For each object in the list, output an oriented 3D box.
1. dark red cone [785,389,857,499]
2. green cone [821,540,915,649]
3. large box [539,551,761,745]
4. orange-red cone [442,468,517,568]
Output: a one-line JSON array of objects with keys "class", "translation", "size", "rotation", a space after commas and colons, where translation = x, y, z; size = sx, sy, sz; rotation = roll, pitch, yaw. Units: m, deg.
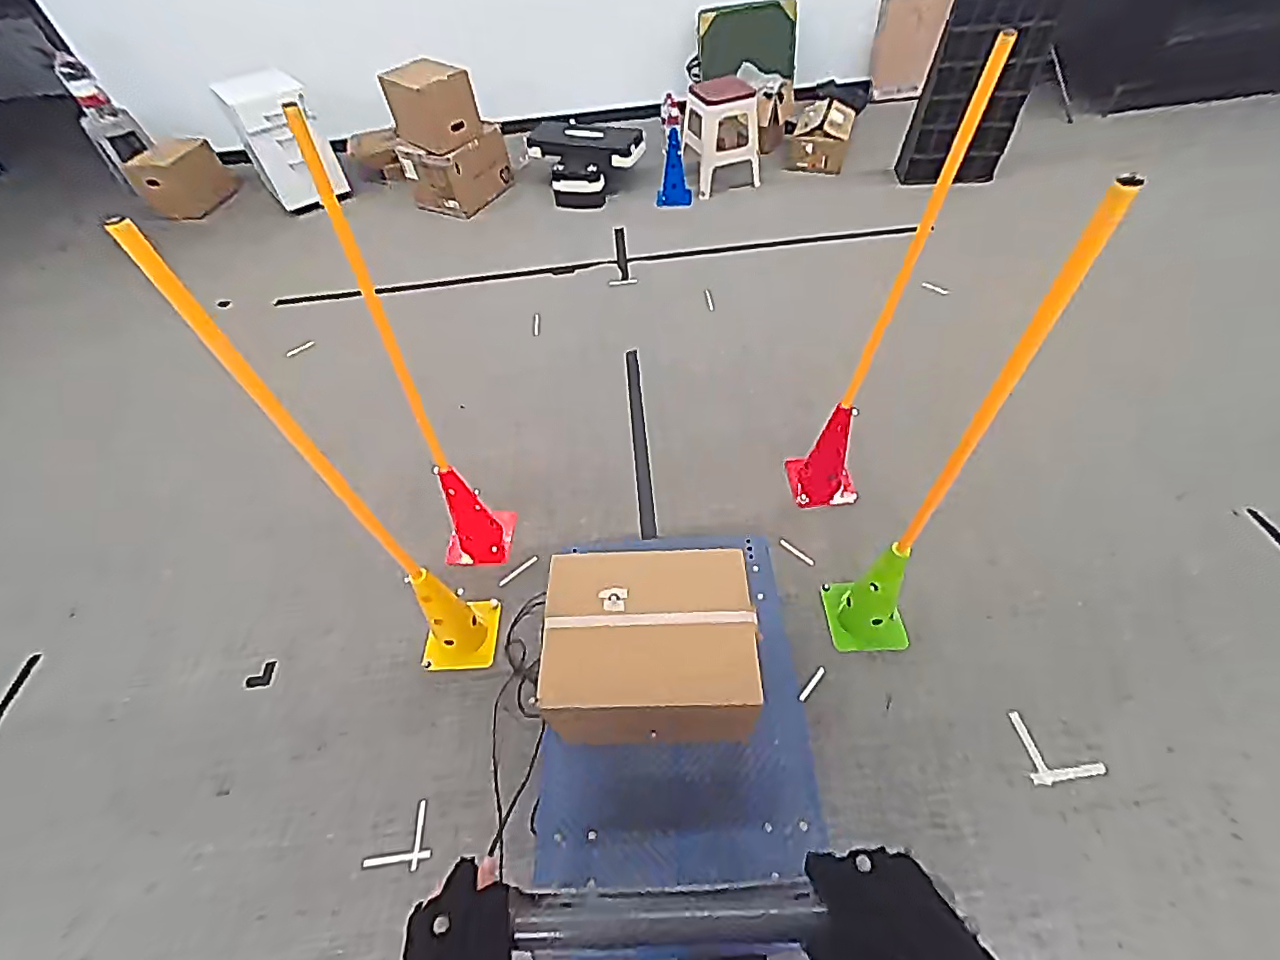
[{"class": "dark red cone", "translation": [0.592, -0.120, 1.669], "size": [0.201, 0.394, 0.202], "rotation": [-5, 52, -1]}, {"class": "green cone", "translation": [0.615, 0.268, 1.379], "size": [0.202, 0.368, 0.200], "rotation": [-3, 51, 2]}, {"class": "large box", "translation": [0.027, 0.372, 1.166], "size": [0.408, 0.320, 0.320], "rotation": [-3, 52, 4]}, {"class": "orange-red cone", "translation": [-0.522, 0.089, 1.633], "size": [0.198, 0.360, 0.199], "rotation": [0, 50, 4]}]
